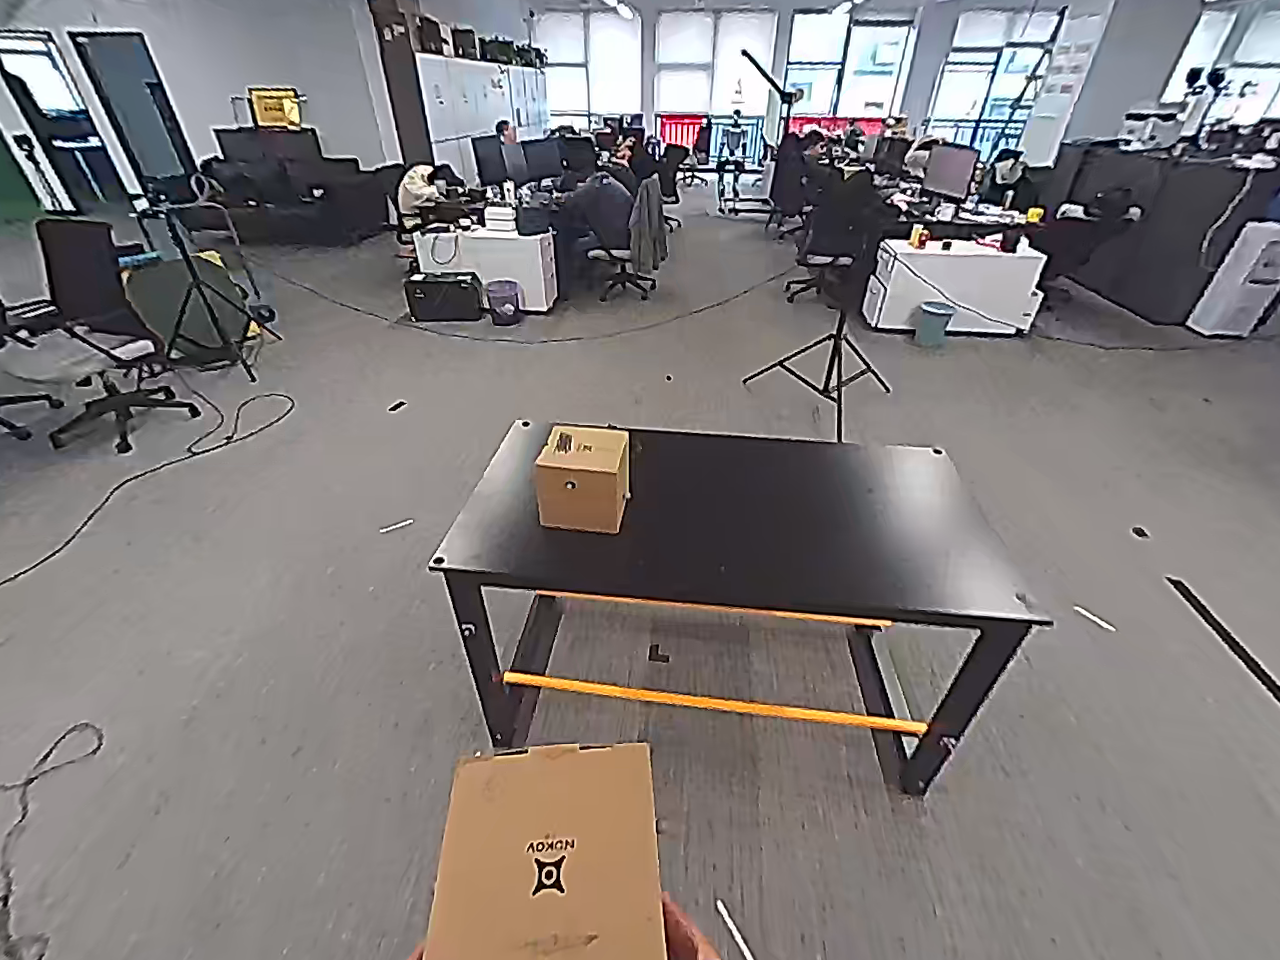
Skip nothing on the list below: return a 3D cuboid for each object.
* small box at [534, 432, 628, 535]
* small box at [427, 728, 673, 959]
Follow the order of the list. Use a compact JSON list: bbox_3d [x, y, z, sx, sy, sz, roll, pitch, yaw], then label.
[{"bbox_3d":[-0.125,0.008,1.220,0.179,0.176,0.168,5,36,6],"label":"small box"},{"bbox_3d":[-0.066,0.339,0.460,0.168,0.176,0.179,-3,41,-4],"label":"small box"}]
